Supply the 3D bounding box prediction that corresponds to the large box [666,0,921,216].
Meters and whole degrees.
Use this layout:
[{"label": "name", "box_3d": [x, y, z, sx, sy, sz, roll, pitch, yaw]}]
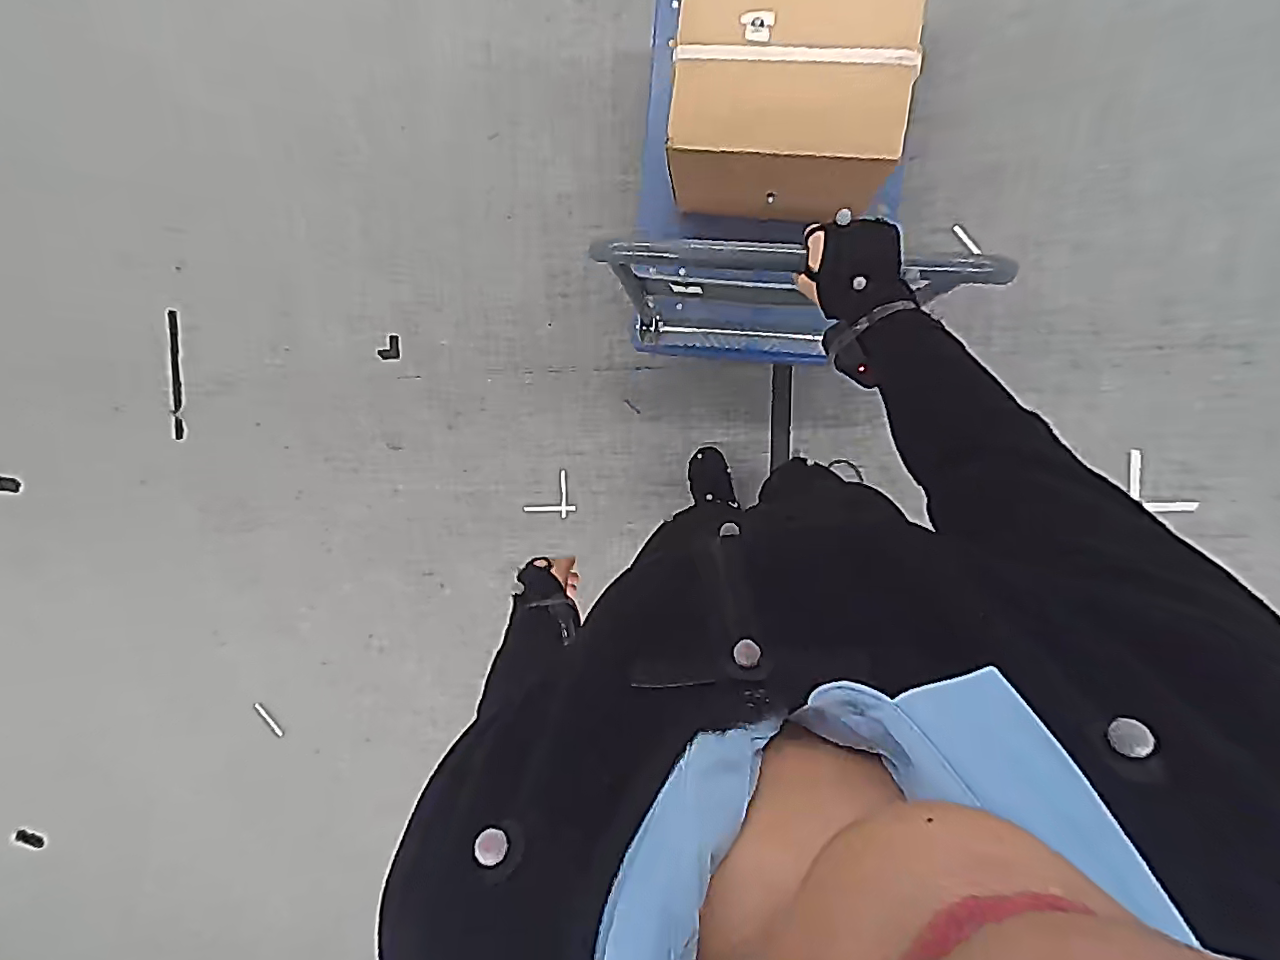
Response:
[{"label": "large box", "box_3d": [0.279, -0.736, 1.057, 0.408, 0.320, 0.320, 7, 96, 8]}]
